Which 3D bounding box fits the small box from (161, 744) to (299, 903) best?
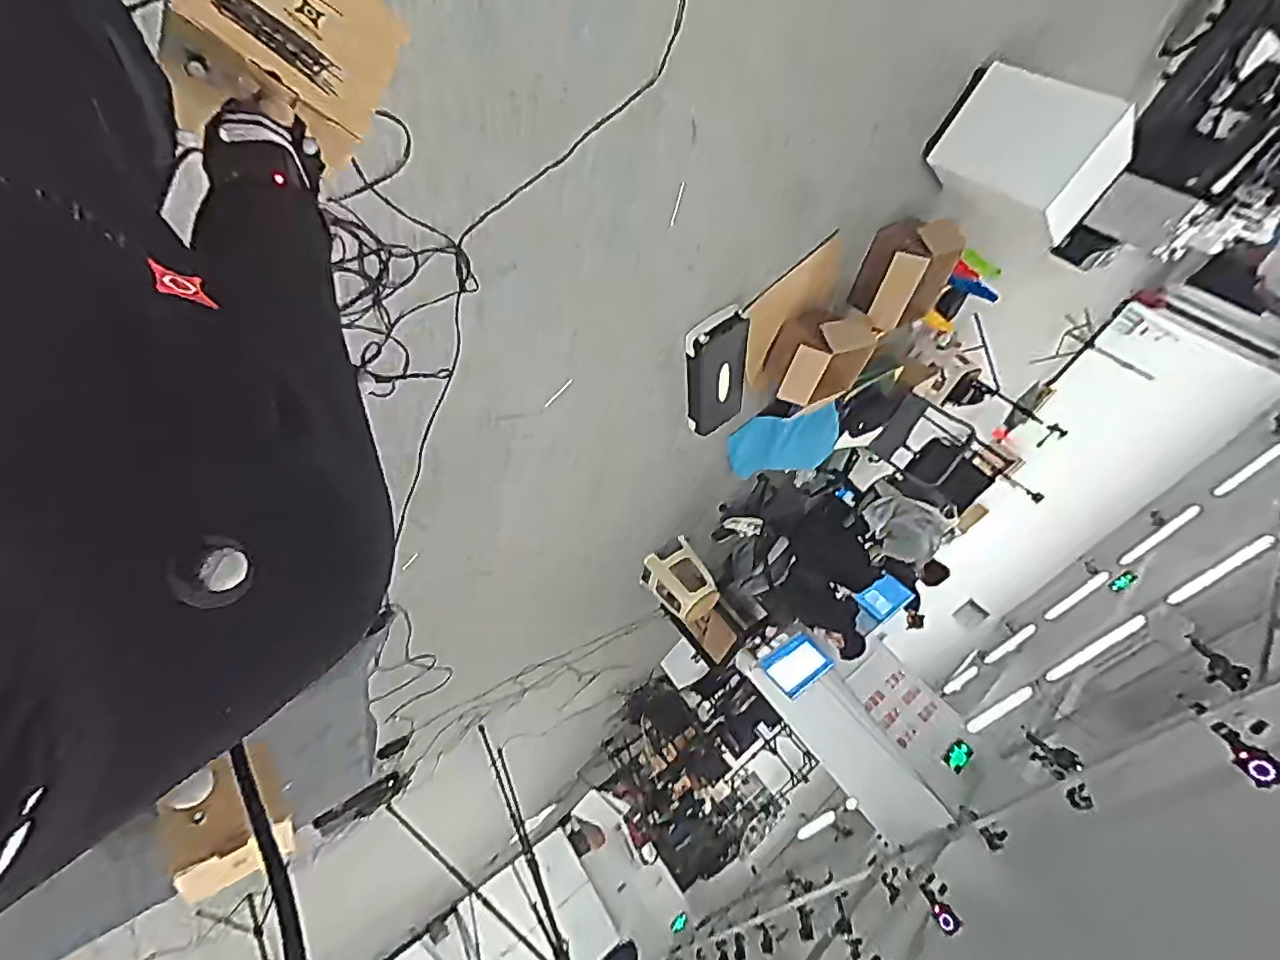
[{"bbox_3d":[-0.752,0.623,0.999,0.168,0.176,0.179,-15,144,-39],"label":"small box"}]
